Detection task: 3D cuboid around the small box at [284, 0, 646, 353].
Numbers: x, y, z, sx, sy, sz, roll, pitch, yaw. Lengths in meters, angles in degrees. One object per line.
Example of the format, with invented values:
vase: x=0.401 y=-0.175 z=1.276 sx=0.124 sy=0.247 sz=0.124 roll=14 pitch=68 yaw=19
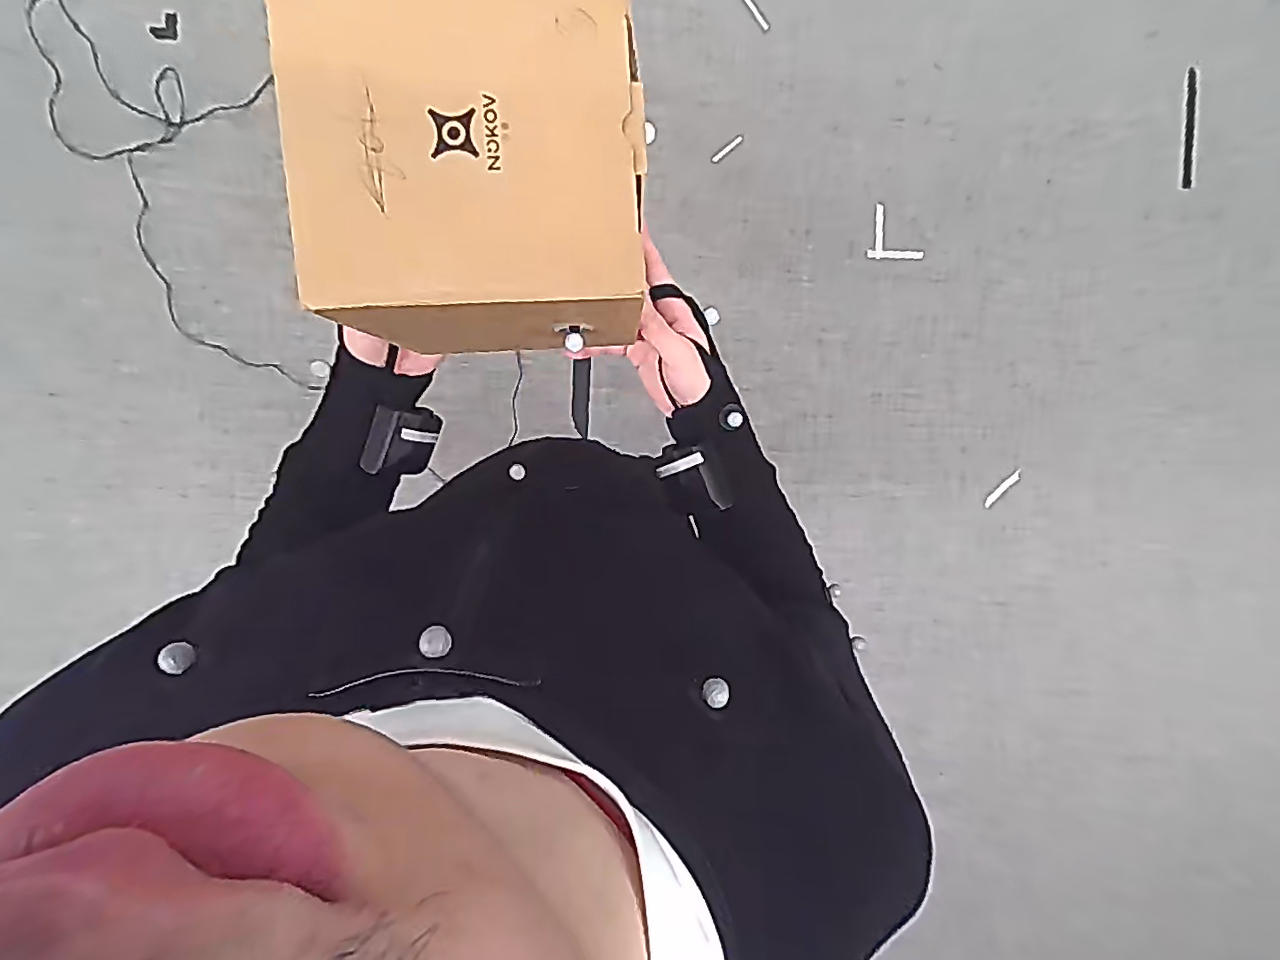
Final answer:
small box: x=-0.092 y=-0.182 z=0.359 sx=0.179 sy=0.176 sz=0.168 roll=-3 pitch=95 yaw=-2
